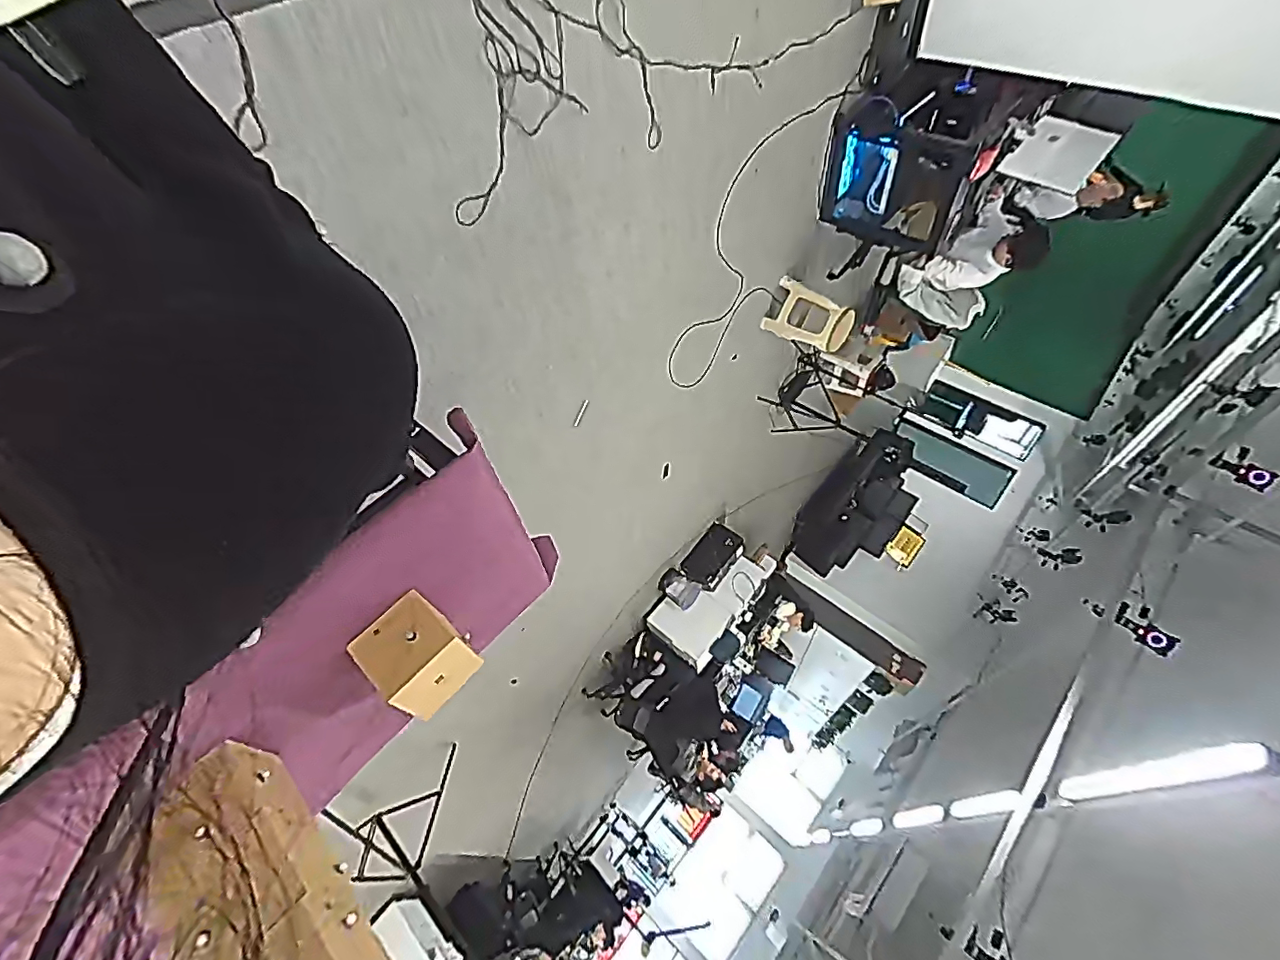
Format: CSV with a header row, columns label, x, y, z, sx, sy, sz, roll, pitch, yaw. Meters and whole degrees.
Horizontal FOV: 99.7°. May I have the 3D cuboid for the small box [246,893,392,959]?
label,x,y,z,sx,sy,sz,roll,pitch,yaw
small box,-0.499,0.776,0.817,0.179,0.176,0.168,-44,151,-24

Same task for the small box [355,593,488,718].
label,x,y,z,sx,sy,sz,roll,pitch,yaw
small box,-0.464,0.368,1.152,0.168,0.176,0.179,-45,152,-21

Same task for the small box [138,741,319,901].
label,x,y,z,sx,sy,sz,roll,pitch,yaw
small box,-0.735,0.606,0.972,0.179,0.176,0.168,-42,150,-23
